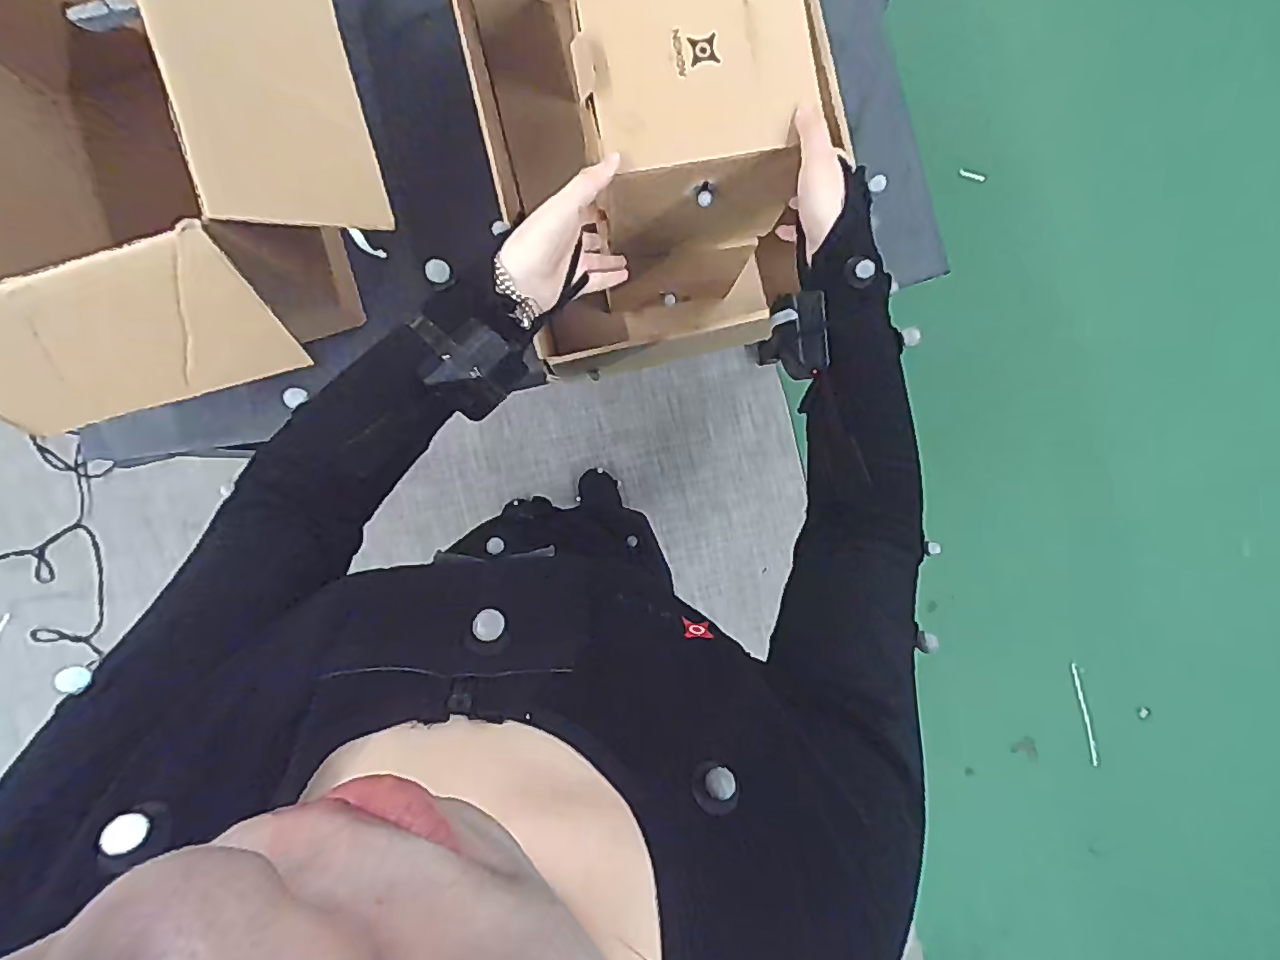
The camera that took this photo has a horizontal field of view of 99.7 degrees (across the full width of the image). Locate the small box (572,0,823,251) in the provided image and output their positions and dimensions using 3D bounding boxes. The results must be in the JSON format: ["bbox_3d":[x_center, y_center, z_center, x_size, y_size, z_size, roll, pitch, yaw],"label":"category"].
[{"bbox_3d":[0.041,-0.330,0.497,0.179,0.176,0.168,-11,93,-4],"label":"small box"}]
